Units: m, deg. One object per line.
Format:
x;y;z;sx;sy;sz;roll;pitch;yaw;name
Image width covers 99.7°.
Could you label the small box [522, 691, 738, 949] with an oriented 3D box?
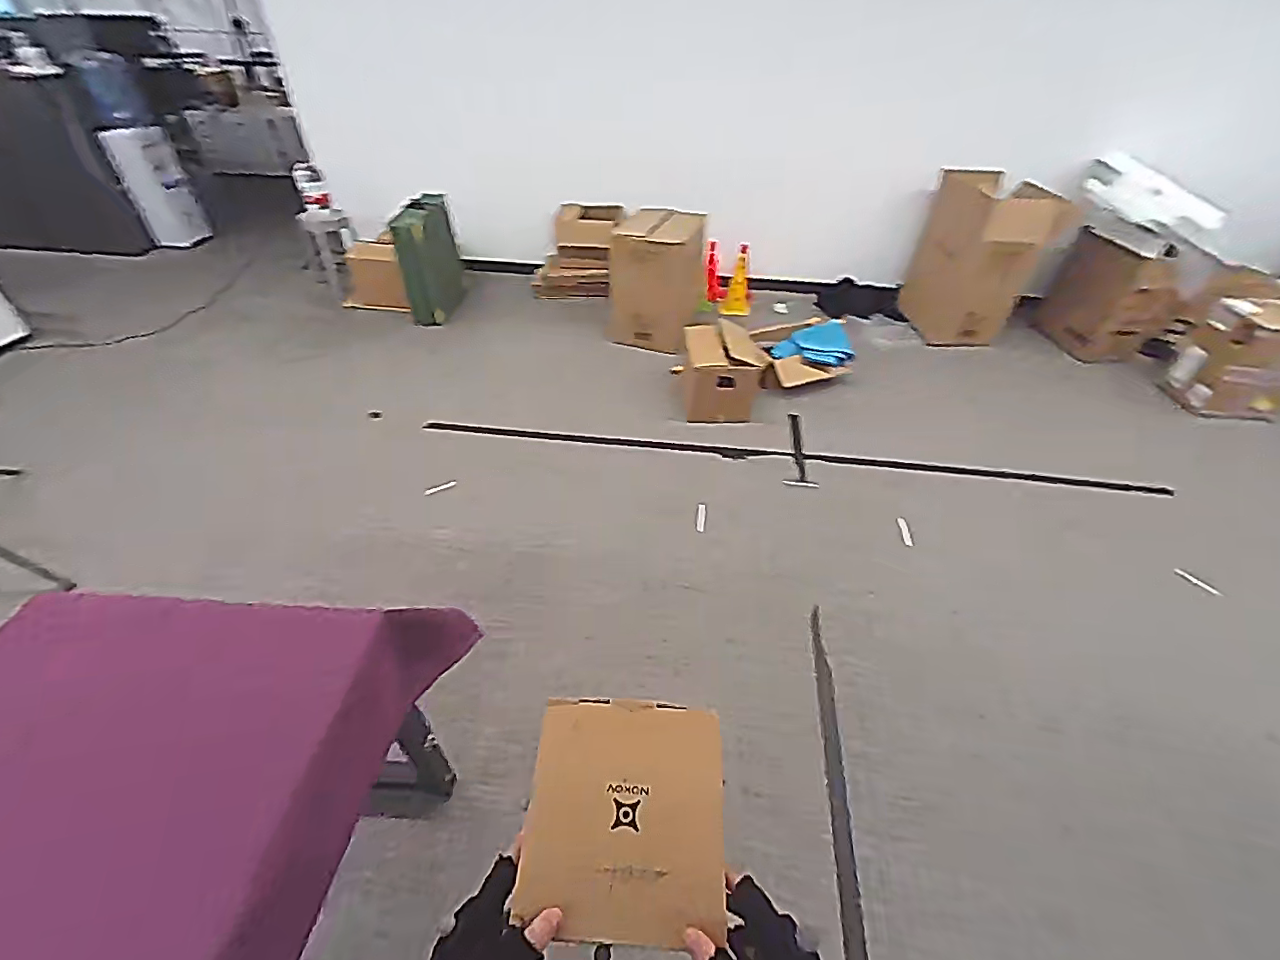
-0.005;0.323;0.514;0.168;0.176;0.179;4;50;1;small box
